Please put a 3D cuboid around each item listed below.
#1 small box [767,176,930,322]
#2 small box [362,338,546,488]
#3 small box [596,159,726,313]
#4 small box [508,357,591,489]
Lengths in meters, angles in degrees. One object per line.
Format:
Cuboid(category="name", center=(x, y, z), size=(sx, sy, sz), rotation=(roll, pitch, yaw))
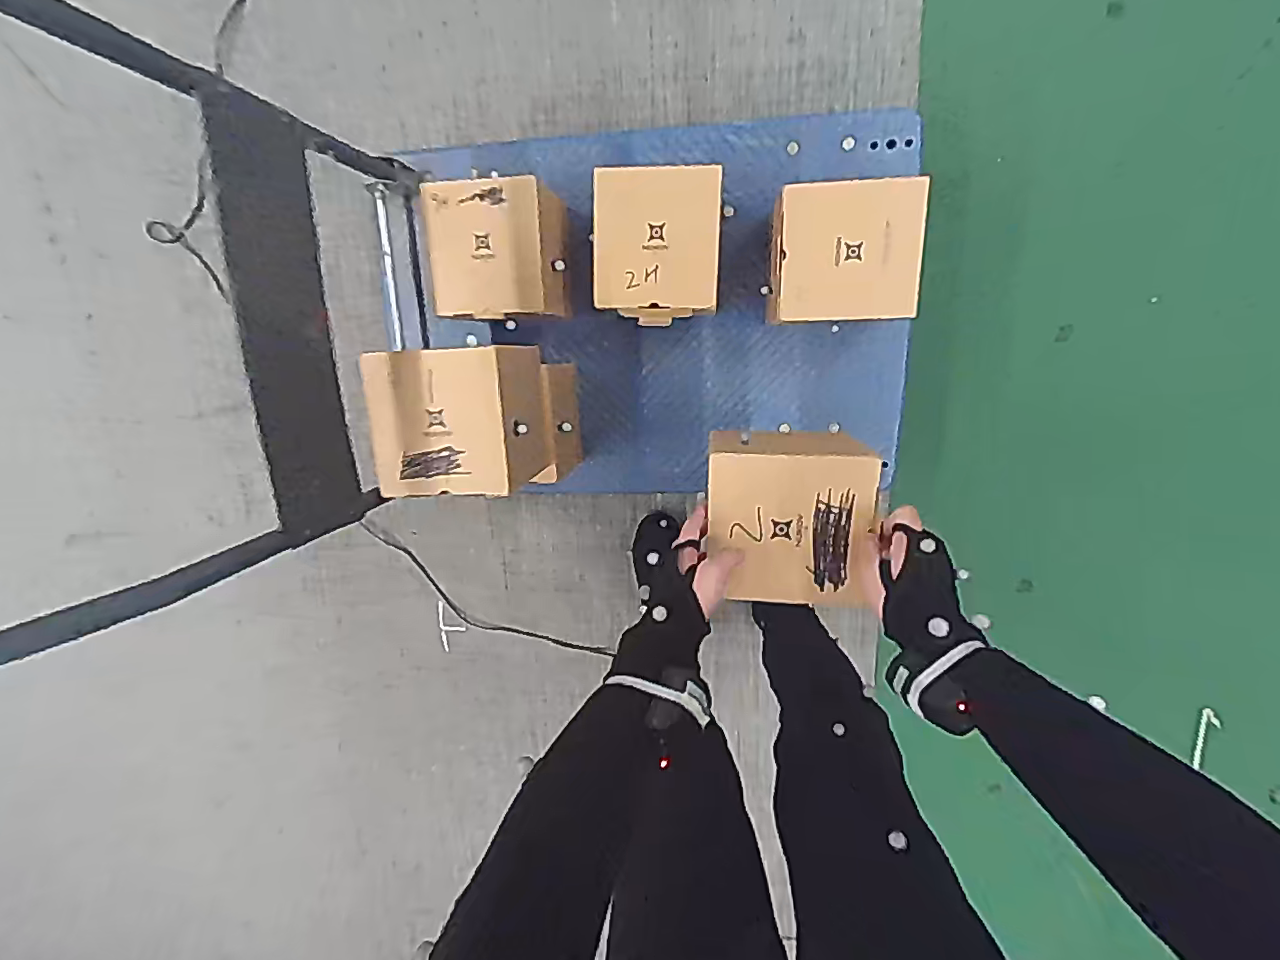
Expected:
Cuboid(category="small box", center=(0.276, -0.311, 0.760), size=(0.179, 0.176, 0.168), rotation=(2, 105, 7))
Cuboid(category="small box", center=(-0.228, -0.094, 0.710), size=(0.168, 0.176, 0.179), rotation=(0, 103, 7))
Cuboid(category="small box", center=(0.033, -0.341, 0.784), size=(0.168, 0.176, 0.179), rotation=(4, 105, 7))
Cuboid(category="small box", center=(-0.204, -0.113, 0.881), size=(0.179, 0.176, 0.168), rotation=(30, 108, 0))
